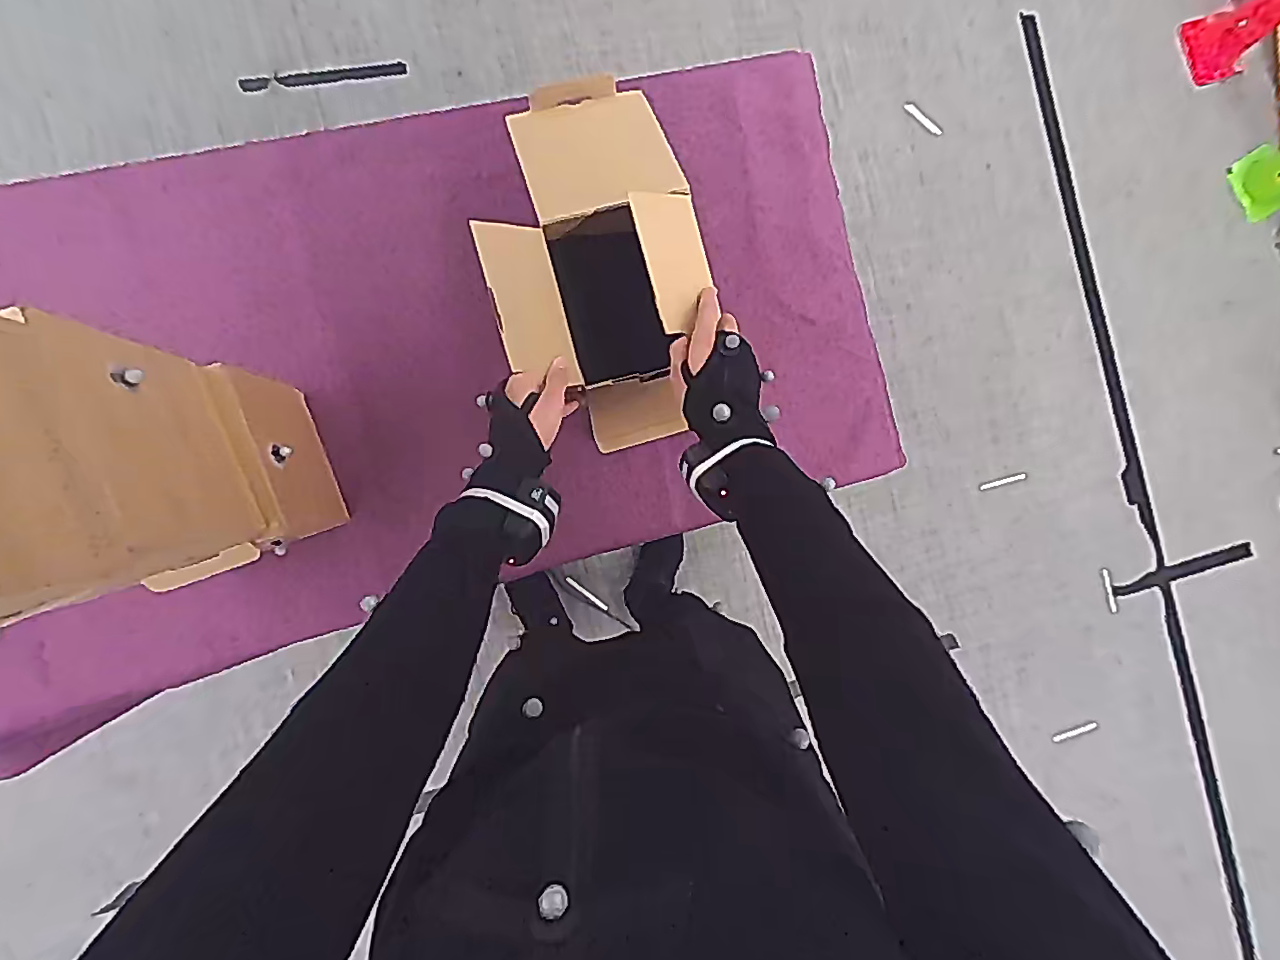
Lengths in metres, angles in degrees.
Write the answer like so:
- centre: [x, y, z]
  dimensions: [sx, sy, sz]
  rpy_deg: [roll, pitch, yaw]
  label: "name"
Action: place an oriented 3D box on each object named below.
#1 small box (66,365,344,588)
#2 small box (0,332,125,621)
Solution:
- centre: [-0.457, -0.005, 0.589]
  dimensions: [0.168, 0.176, 0.179]
  rpy_deg: [-19, 92, -8]
  label: "small box"
- centre: [-0.423, 0.006, 0.260]
  dimensions: [0.168, 0.176, 0.179]
  rpy_deg: [-22, 92, -7]
  label: "small box"
